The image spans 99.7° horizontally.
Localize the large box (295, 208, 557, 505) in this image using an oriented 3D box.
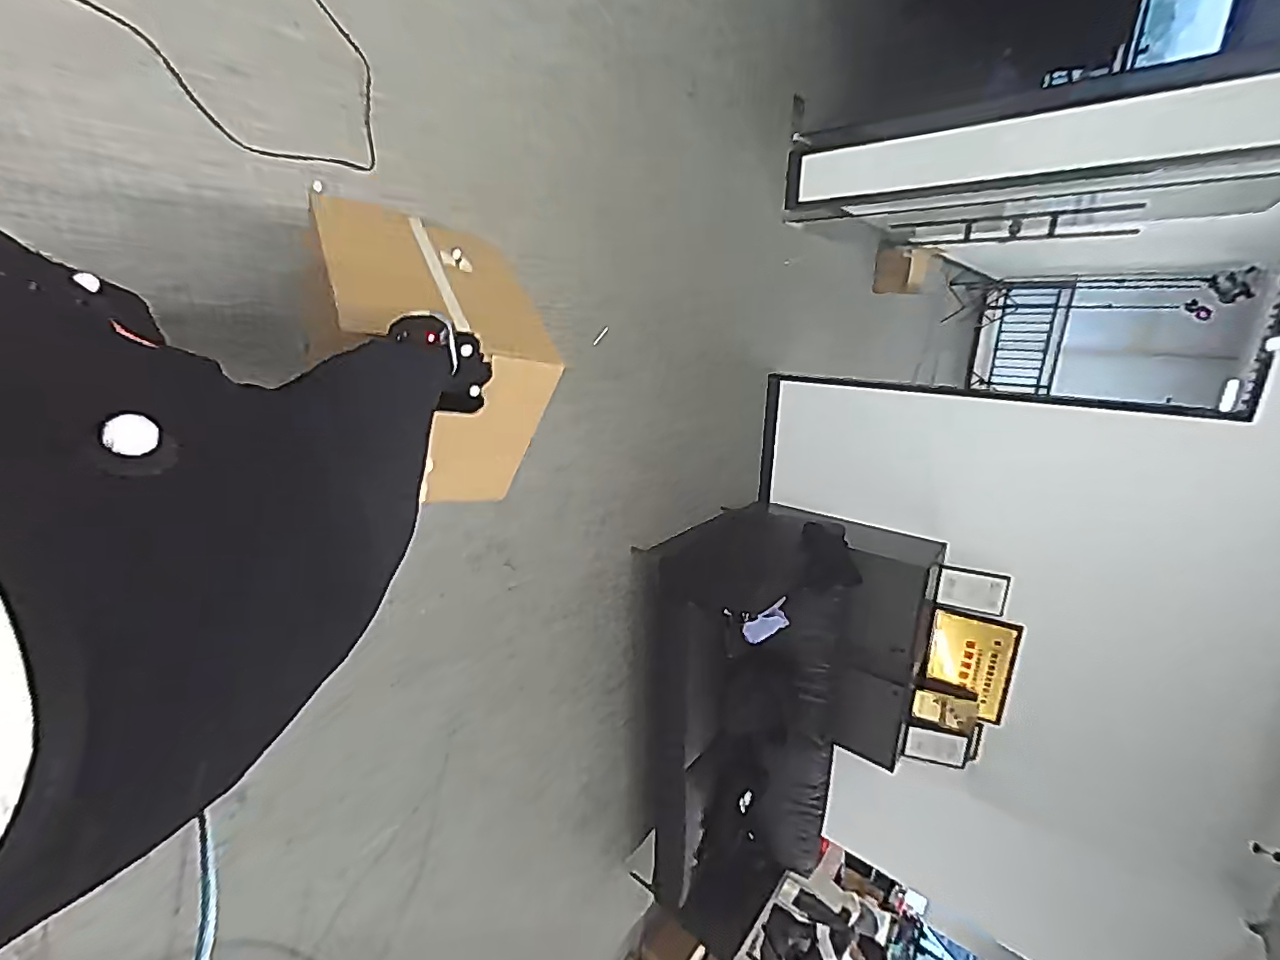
[{"bbox_3d":[-0.401,-0.203,0.956,0.320,0.408,0.320,2,133,-40],"label":"large box"}]
